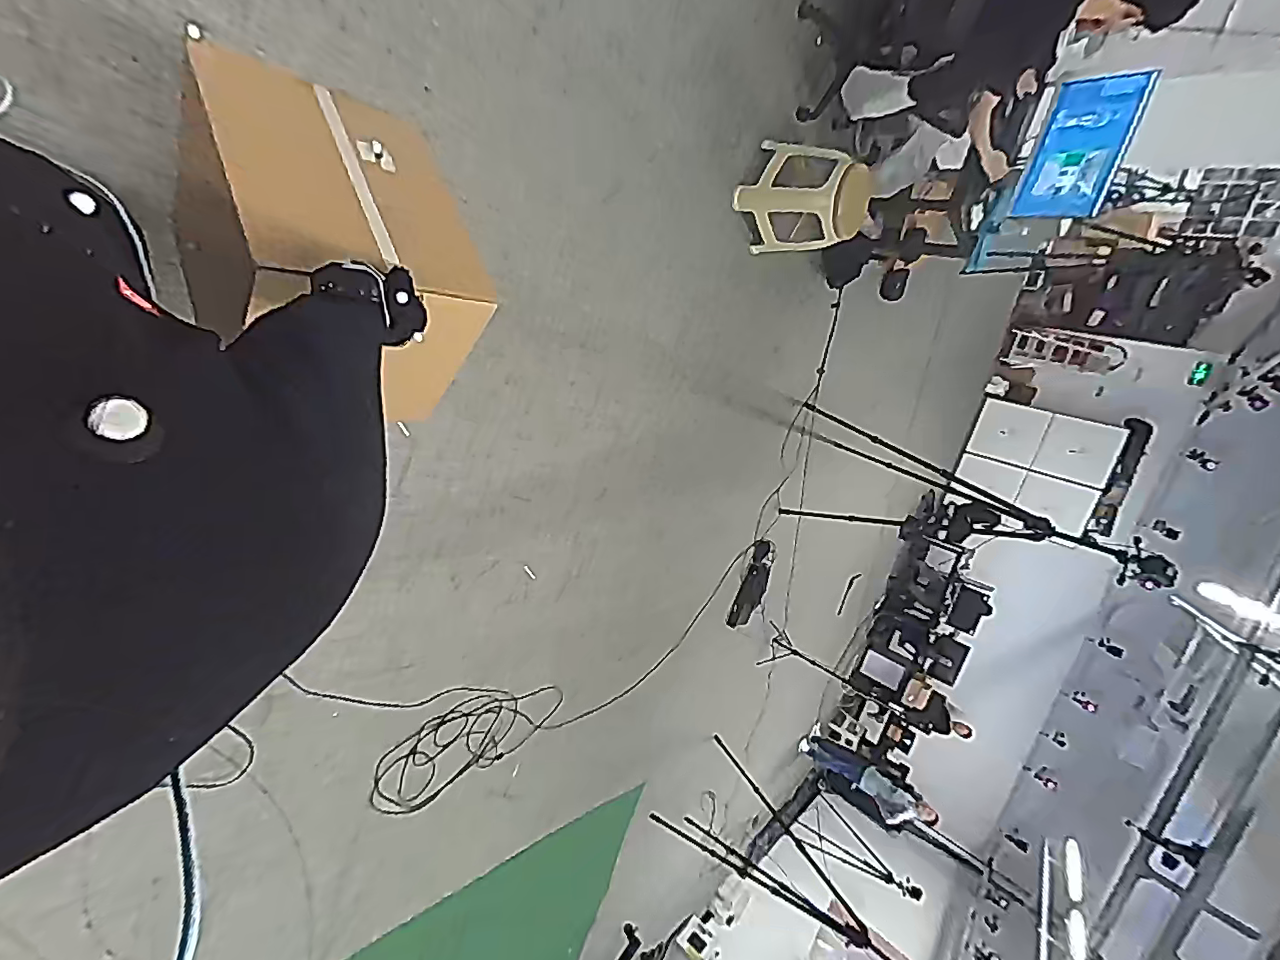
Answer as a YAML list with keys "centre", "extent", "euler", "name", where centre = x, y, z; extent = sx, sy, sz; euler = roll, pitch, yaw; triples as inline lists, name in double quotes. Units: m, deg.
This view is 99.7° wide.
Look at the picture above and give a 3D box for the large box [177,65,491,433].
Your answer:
- centre: [-0.504, -0.330, 0.869]
  extent: [0.320, 0.408, 0.320]
  euler: [-9, 155, -47]
  name: "large box"
